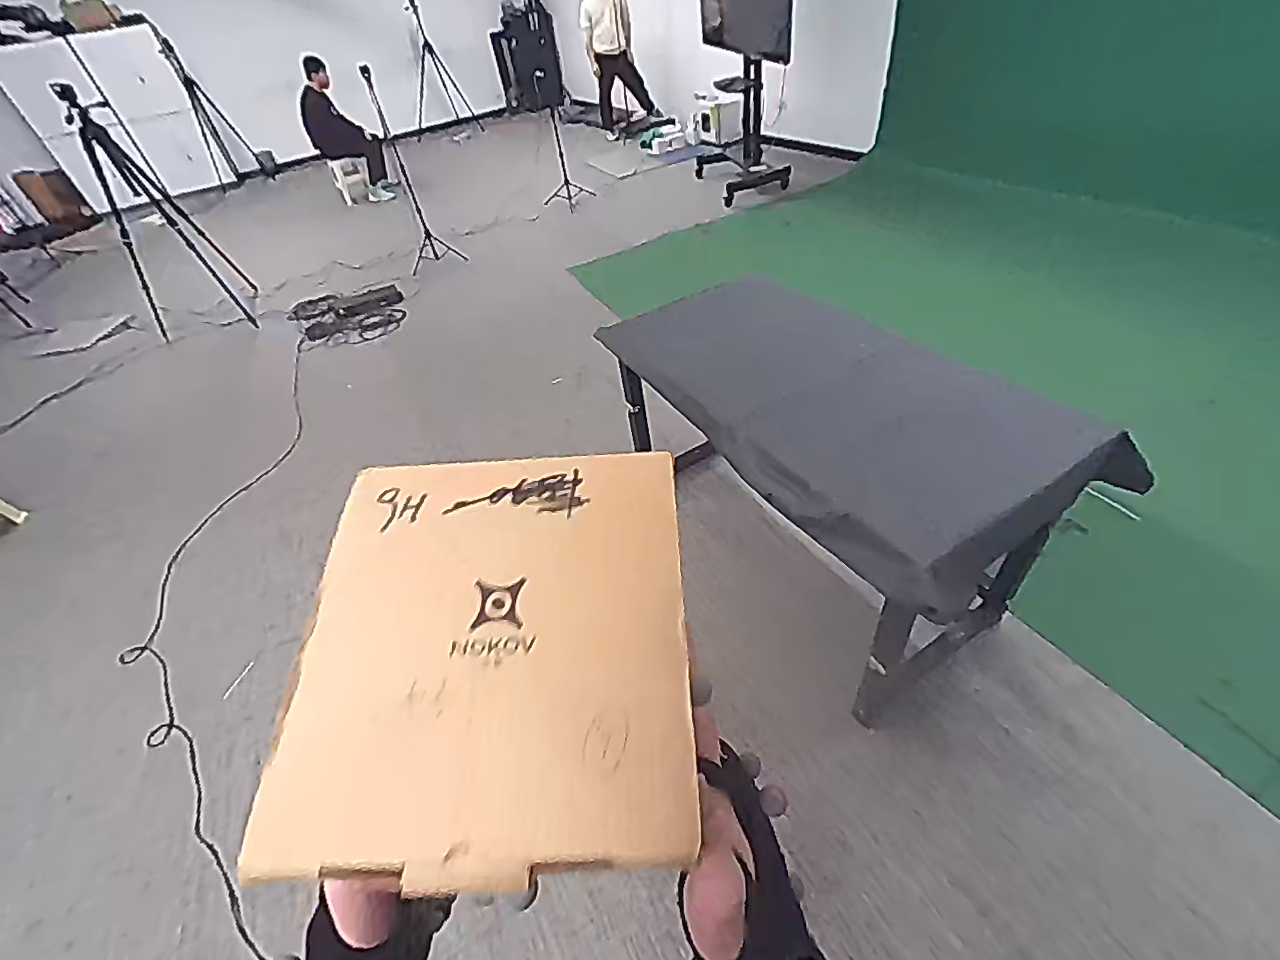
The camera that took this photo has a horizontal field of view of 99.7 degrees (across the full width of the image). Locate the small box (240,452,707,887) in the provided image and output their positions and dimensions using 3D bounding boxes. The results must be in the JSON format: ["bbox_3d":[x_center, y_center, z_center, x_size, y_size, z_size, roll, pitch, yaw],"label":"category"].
[{"bbox_3d":[-0.056,0.104,0.295,0.168,0.176,0.179,-2,56,0],"label":"small box"}]
